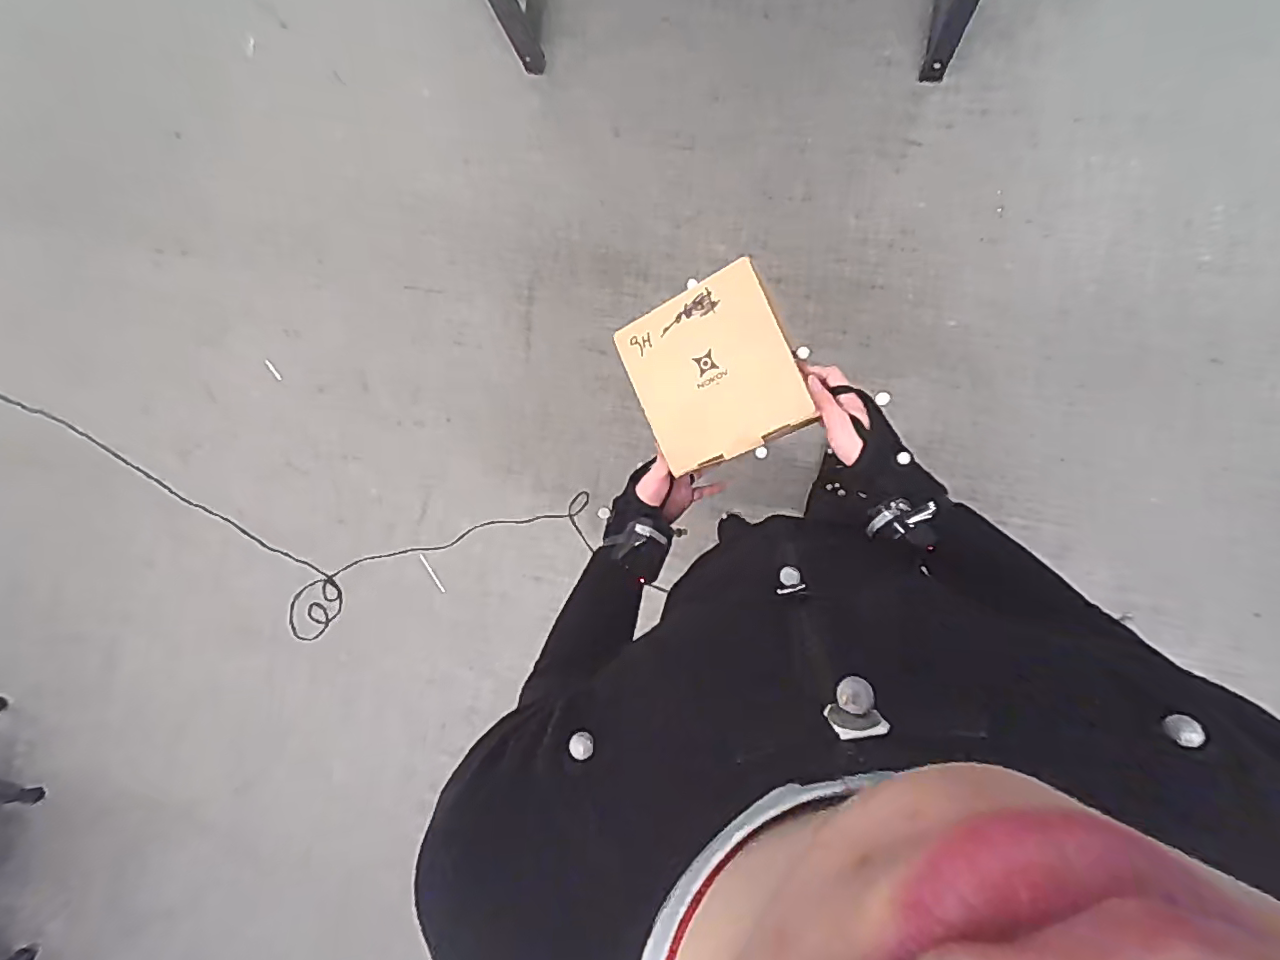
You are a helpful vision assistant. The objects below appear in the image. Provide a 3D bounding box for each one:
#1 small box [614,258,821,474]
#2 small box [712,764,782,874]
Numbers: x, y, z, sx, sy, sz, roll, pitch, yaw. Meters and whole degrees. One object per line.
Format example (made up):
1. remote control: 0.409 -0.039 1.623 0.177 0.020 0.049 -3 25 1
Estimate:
1. small box: 0.102 -0.124 0.637 0.168 0.176 0.179 -24 87 23
2. small box: 0.289 0.911 1.468 0.168 0.176 0.179 5 91 10
